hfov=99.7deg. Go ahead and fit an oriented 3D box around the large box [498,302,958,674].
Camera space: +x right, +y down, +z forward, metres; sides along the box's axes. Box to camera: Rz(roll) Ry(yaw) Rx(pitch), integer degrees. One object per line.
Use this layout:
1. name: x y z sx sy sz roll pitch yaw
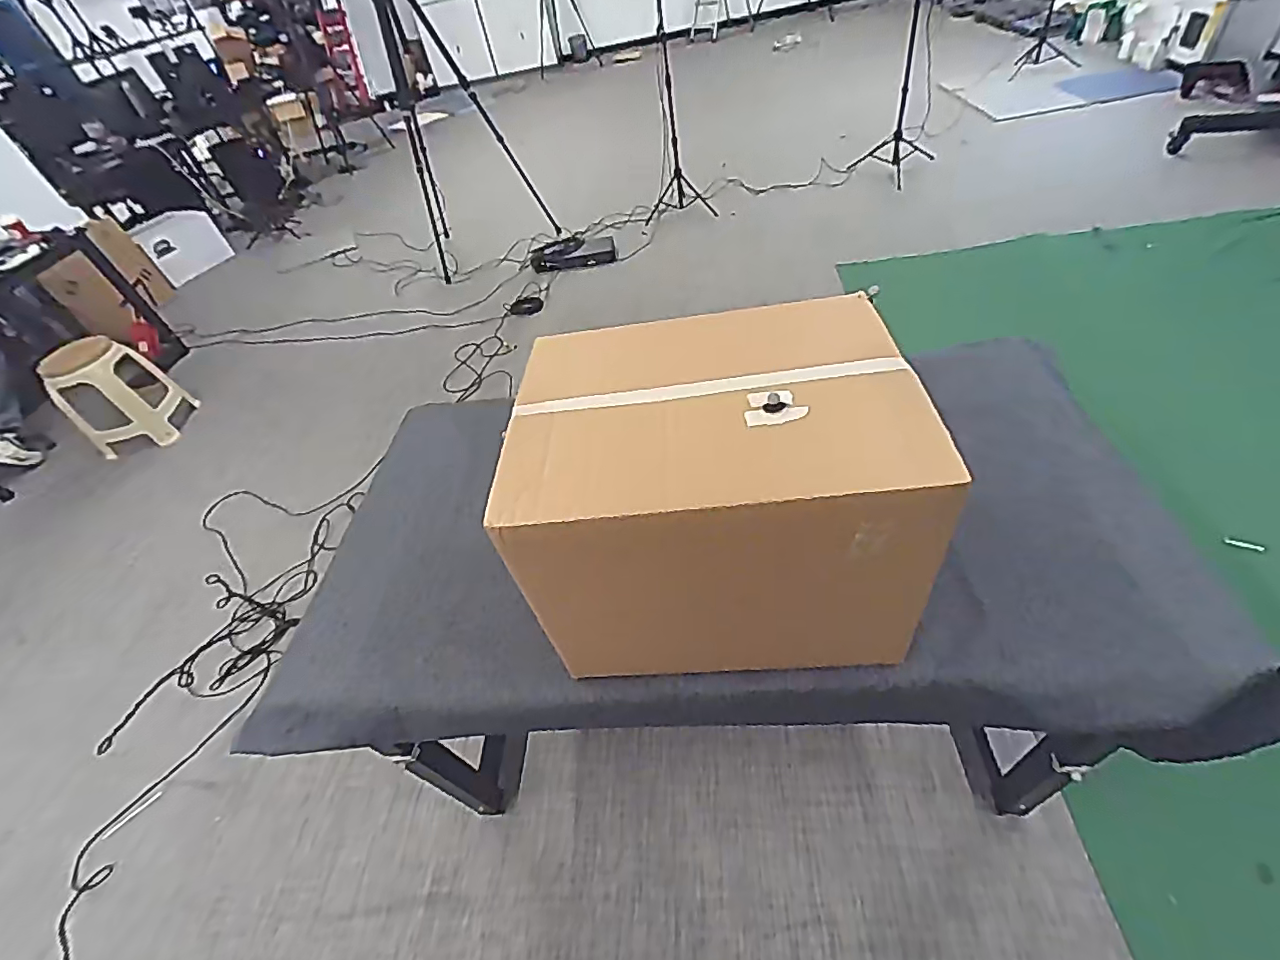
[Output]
1. large box: 0.088 0.018 0.668 0.408 0.320 0.320 -6 45 7
